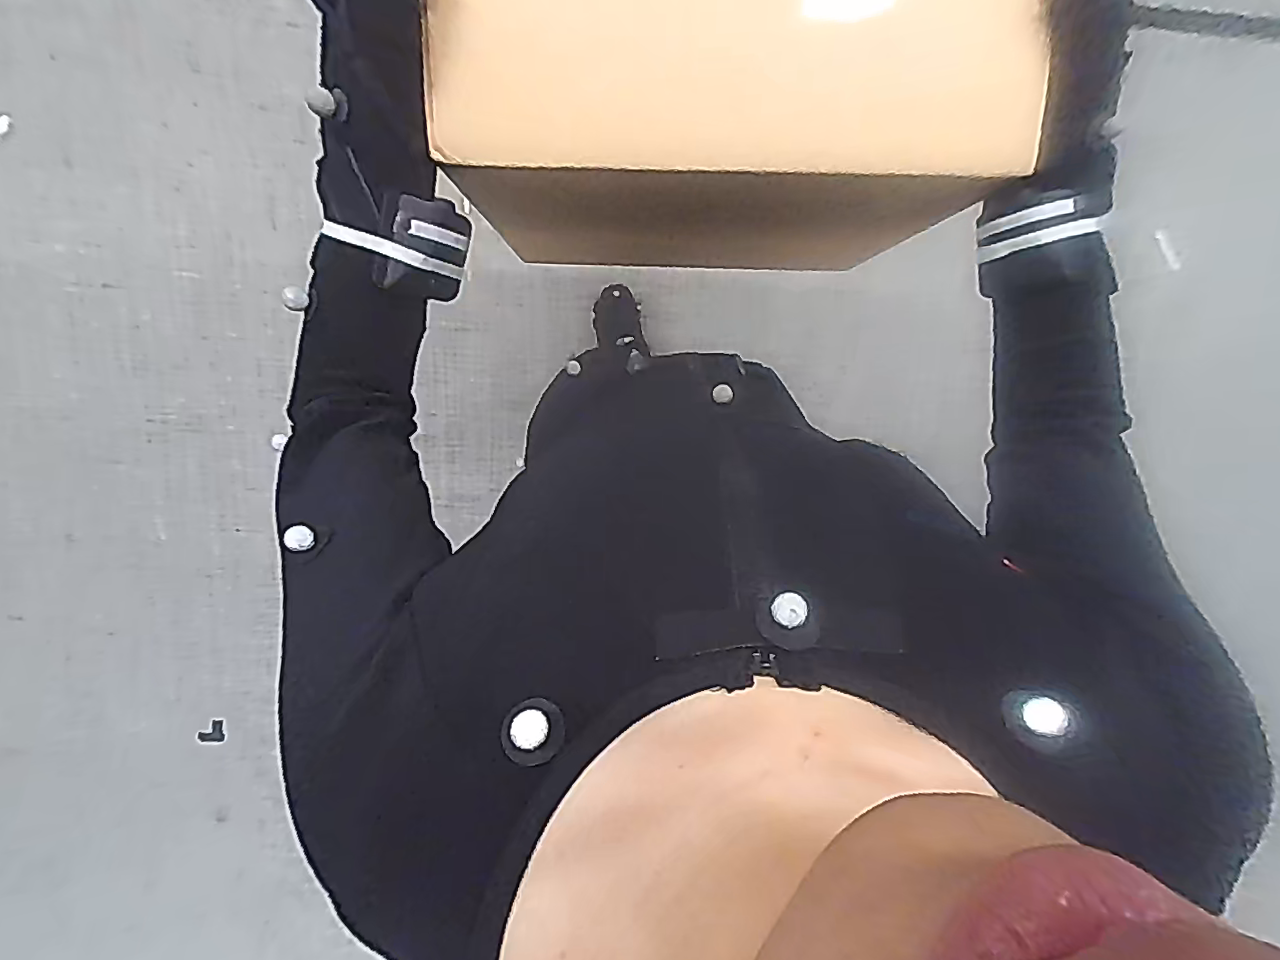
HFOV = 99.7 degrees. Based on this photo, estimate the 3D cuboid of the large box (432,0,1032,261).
[{"bbox_3d":[0.057,-0.398,0.492,0.408,0.320,0.320,0,100,-2],"label":"large box"}]
